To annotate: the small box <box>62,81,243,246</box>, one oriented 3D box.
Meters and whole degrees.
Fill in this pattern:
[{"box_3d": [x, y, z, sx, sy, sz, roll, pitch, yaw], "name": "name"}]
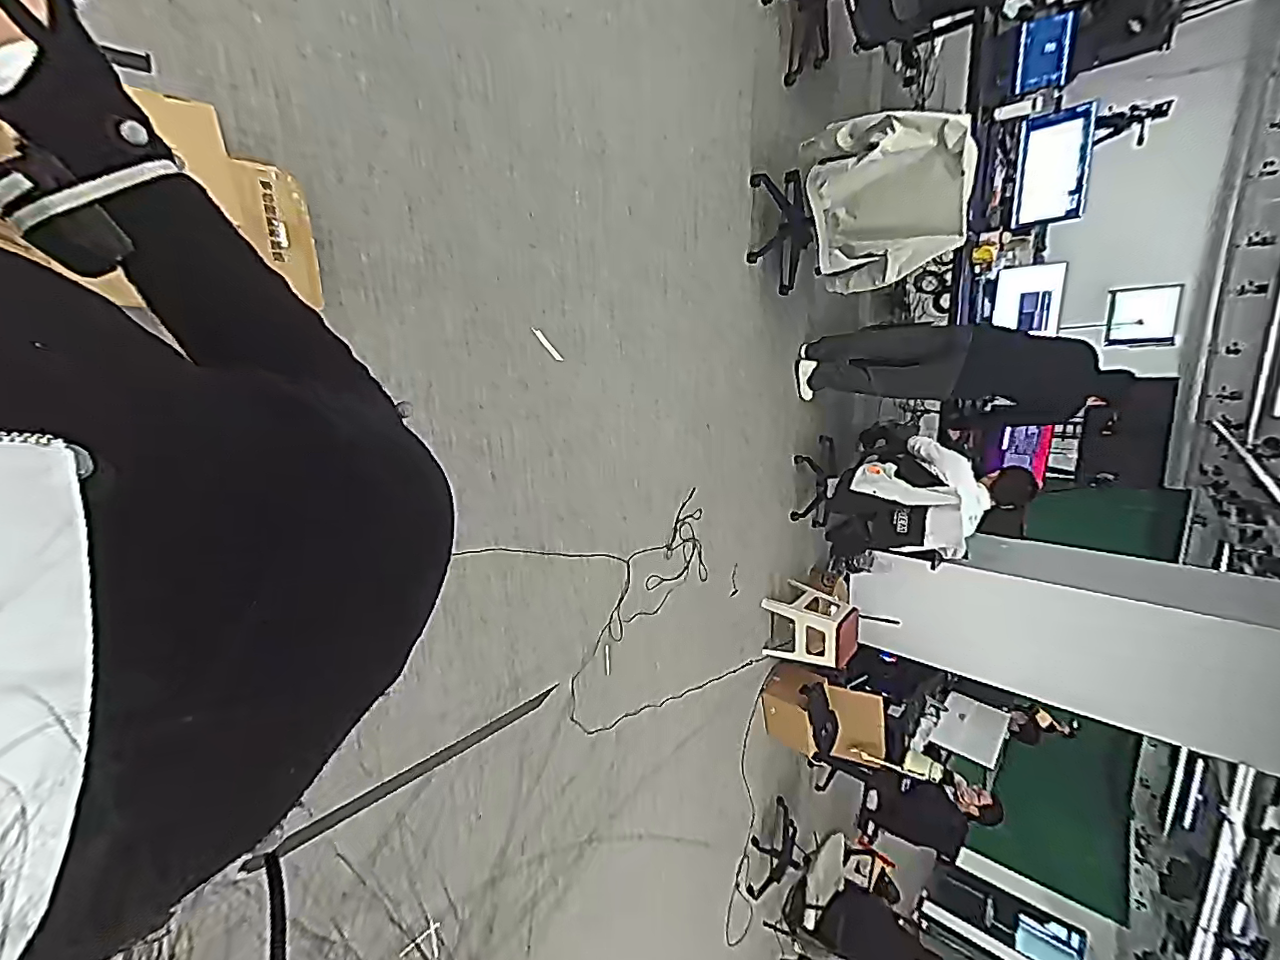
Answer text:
[{"box_3d": [-0.767, -0.481, 0.852, 0.168, 0.176, 0.179, -22, 113, -44], "name": "small box"}]
